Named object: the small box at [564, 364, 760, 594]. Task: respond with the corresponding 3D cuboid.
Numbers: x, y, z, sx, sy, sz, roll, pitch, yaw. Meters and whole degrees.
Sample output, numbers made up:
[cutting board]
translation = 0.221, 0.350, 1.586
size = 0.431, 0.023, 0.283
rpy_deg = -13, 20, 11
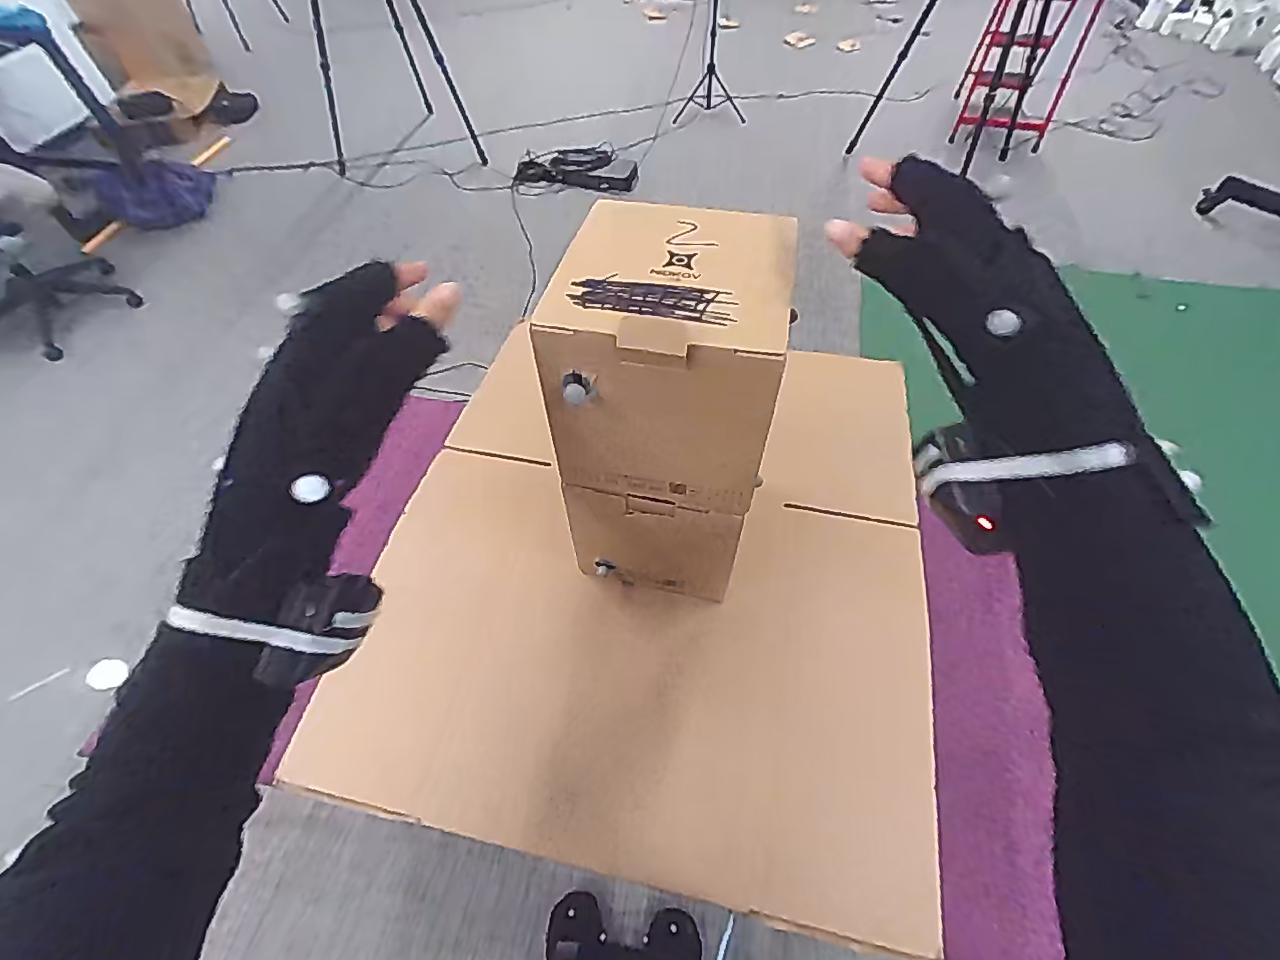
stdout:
[small box]
translation = 0.030, 0.004, 0.578
size = 0.168, 0.176, 0.179
rpy_deg = 8, 55, 7
